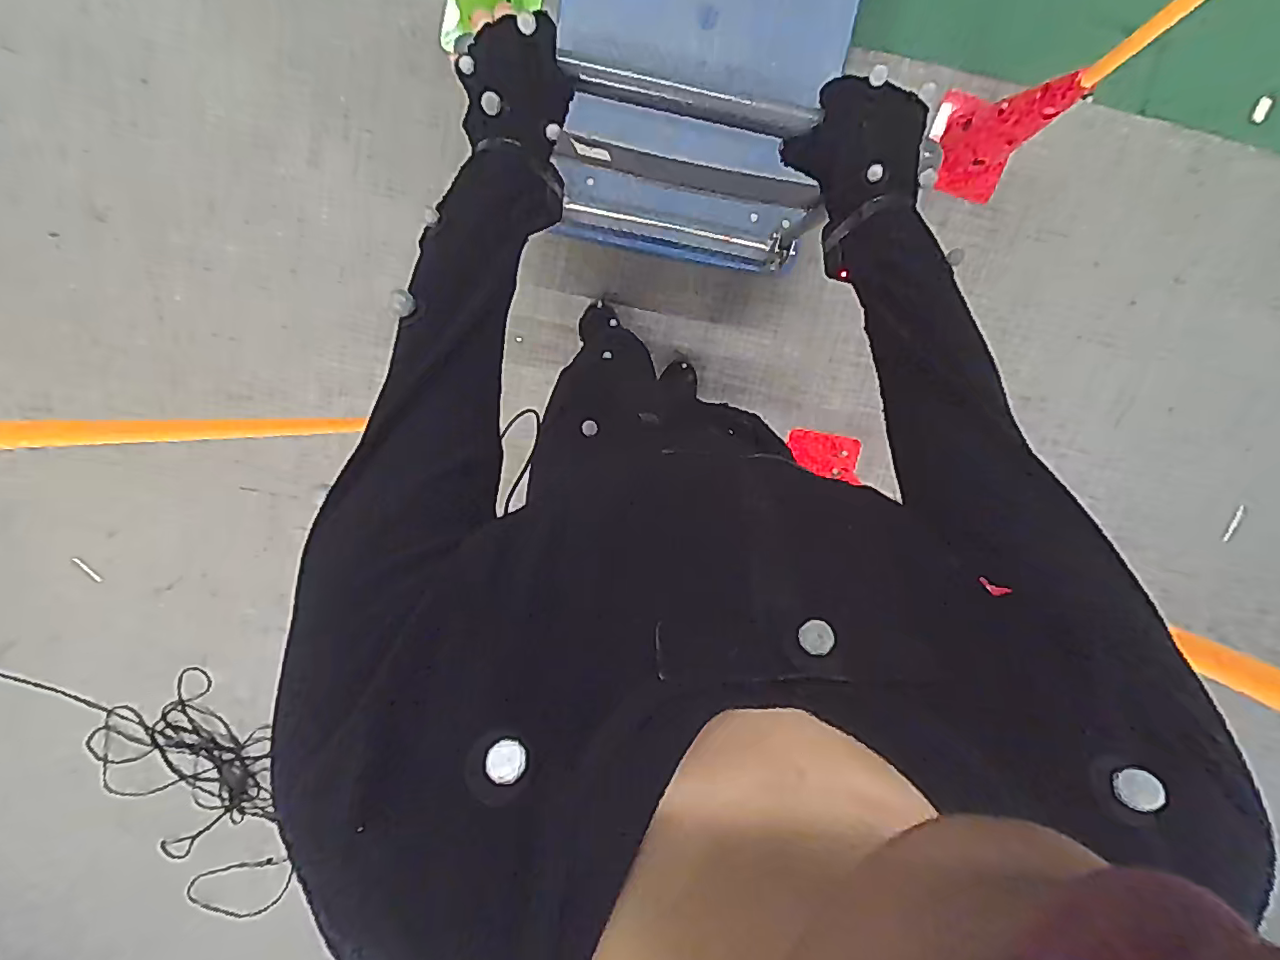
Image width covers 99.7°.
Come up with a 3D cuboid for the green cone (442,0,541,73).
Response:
[{"bbox_3d":[-0.333,-1.004,1.042,0.202,0.368,0.200,16,103,-3],"label":"green cone"}]

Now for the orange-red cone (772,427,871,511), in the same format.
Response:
[{"bbox_3d":[0.472,0.007,1.311,0.199,0.360,0.198,12,104,-1],"label":"orange-red cone"}]
